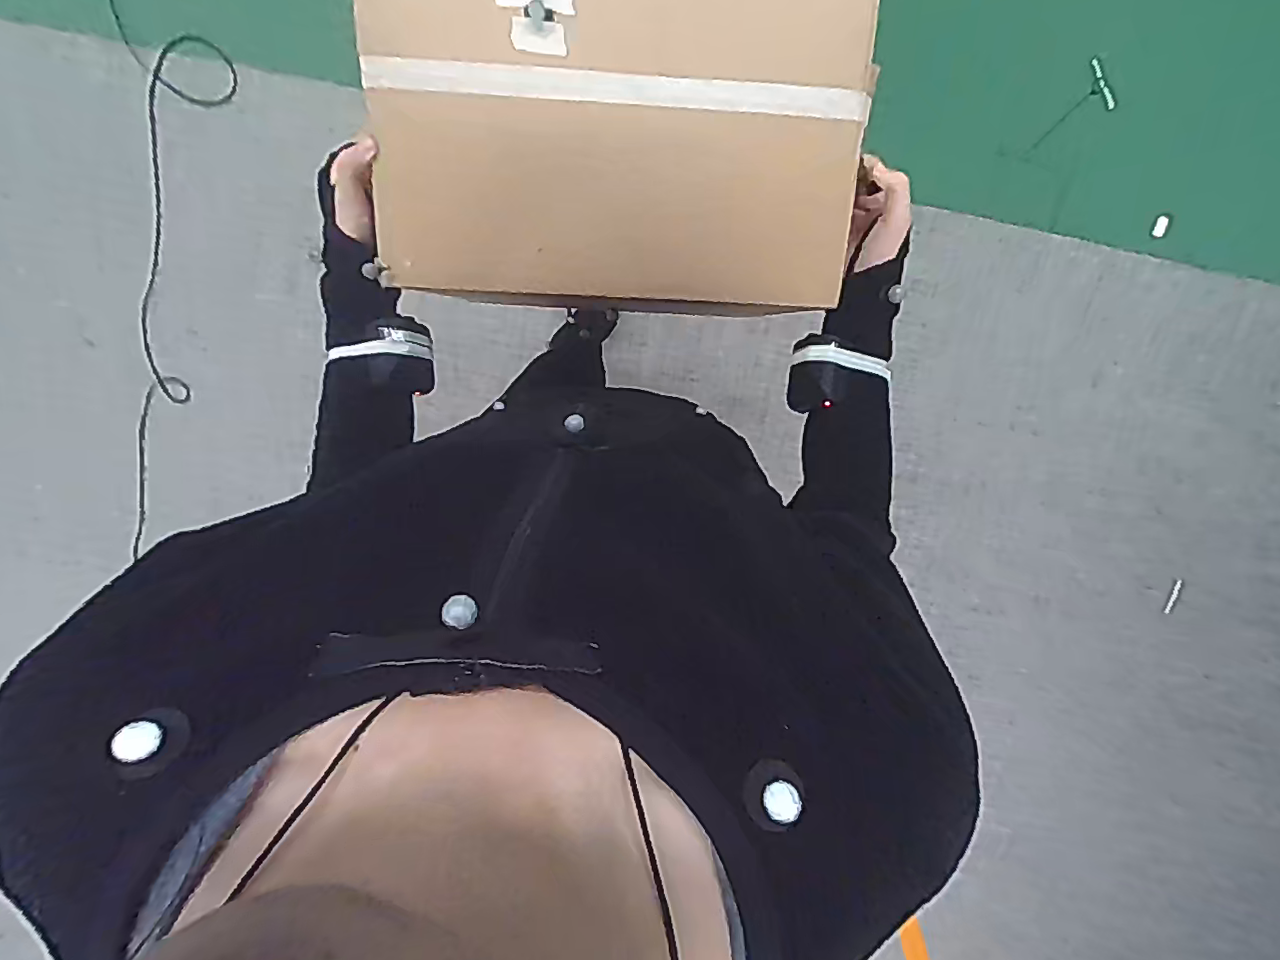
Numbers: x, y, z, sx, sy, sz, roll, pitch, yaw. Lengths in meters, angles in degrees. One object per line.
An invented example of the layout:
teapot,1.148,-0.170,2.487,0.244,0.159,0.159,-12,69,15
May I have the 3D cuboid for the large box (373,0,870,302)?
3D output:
large box,-0.019,-0.363,0.589,0.408,0.320,0.320,2,105,-3
